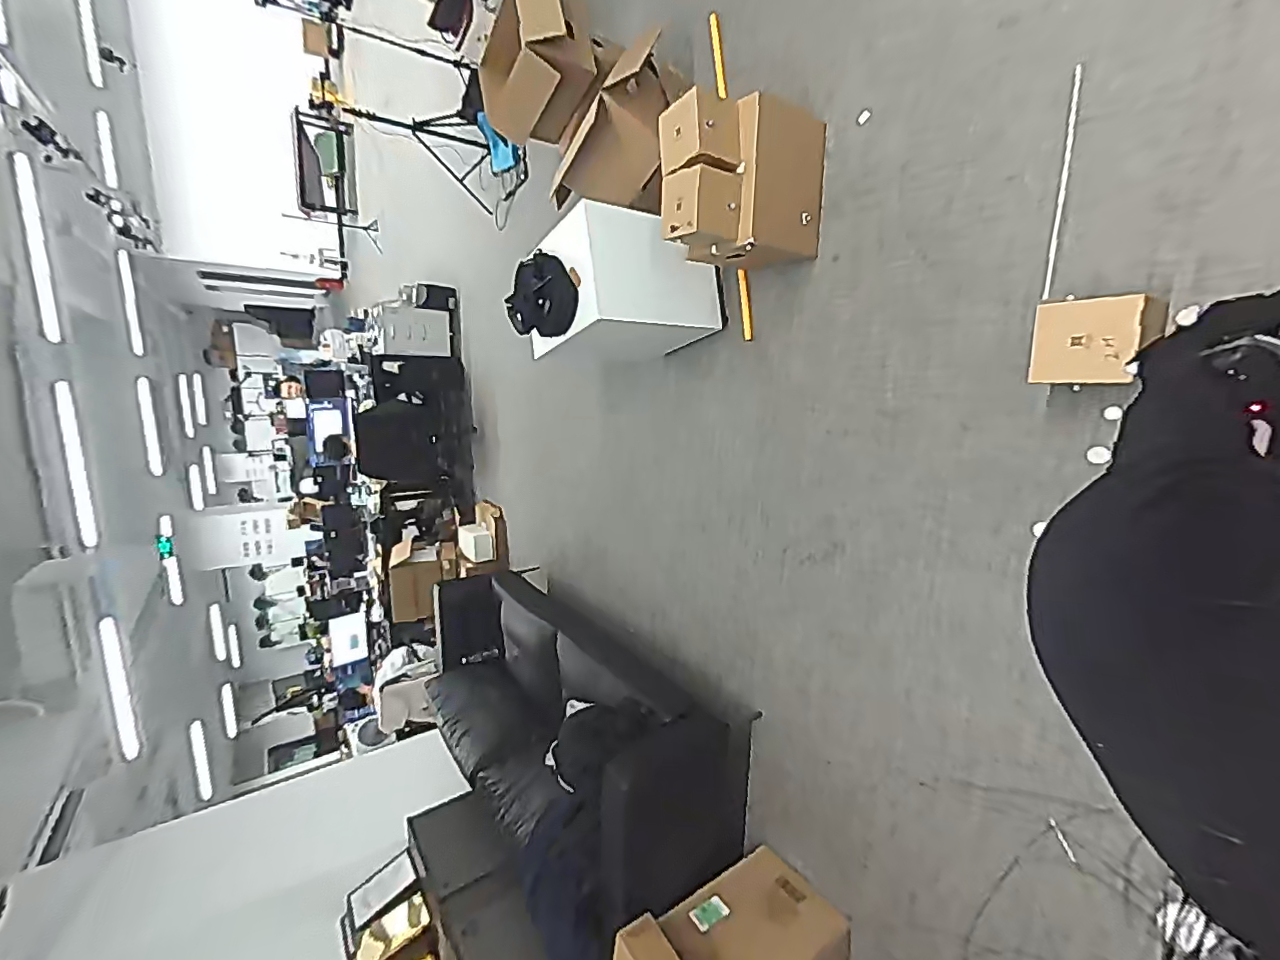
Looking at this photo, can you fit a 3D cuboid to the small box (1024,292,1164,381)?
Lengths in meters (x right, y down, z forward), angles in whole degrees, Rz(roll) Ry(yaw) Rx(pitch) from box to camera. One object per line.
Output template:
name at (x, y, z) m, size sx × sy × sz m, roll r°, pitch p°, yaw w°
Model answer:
small box at (0.947, -0.291, 1.131) m, size 0.179 × 0.176 × 0.168 m, roll 14°, pitch 107°, yaw 53°
